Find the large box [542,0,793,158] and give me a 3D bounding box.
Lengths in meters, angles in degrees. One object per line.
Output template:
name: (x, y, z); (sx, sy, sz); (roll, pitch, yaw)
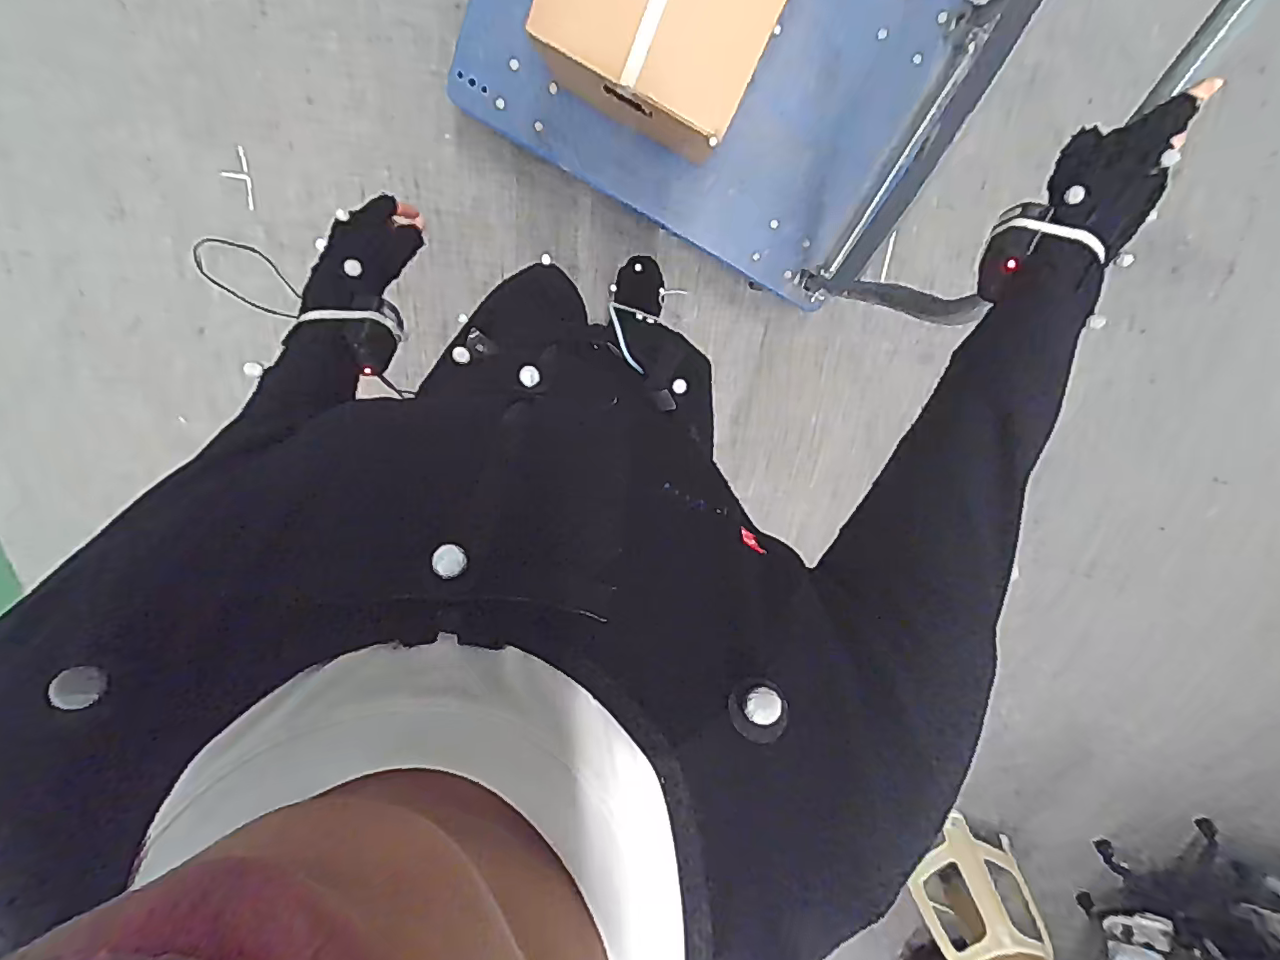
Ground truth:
large box: (0.079, -0.792, 0.838); (0.320, 0.320, 0.408); (23, 114, -8)
